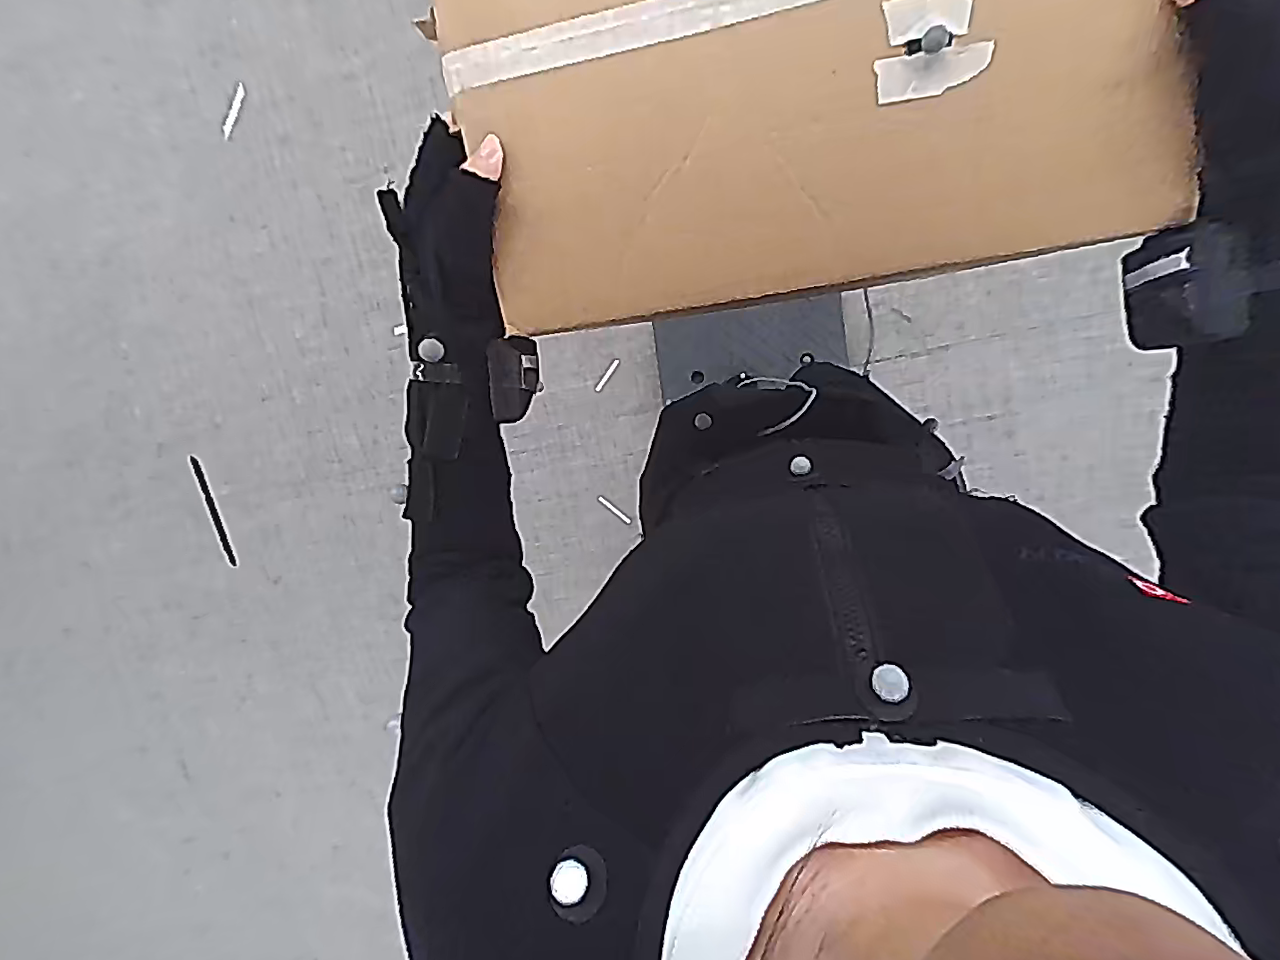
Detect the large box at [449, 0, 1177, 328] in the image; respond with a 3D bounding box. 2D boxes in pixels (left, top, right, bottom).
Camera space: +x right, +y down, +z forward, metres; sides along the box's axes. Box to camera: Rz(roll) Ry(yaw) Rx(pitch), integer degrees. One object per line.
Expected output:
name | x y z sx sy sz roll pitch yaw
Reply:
large box | 0.100 -0.319 0.449 0.408 0.320 0.320 -7 106 9
